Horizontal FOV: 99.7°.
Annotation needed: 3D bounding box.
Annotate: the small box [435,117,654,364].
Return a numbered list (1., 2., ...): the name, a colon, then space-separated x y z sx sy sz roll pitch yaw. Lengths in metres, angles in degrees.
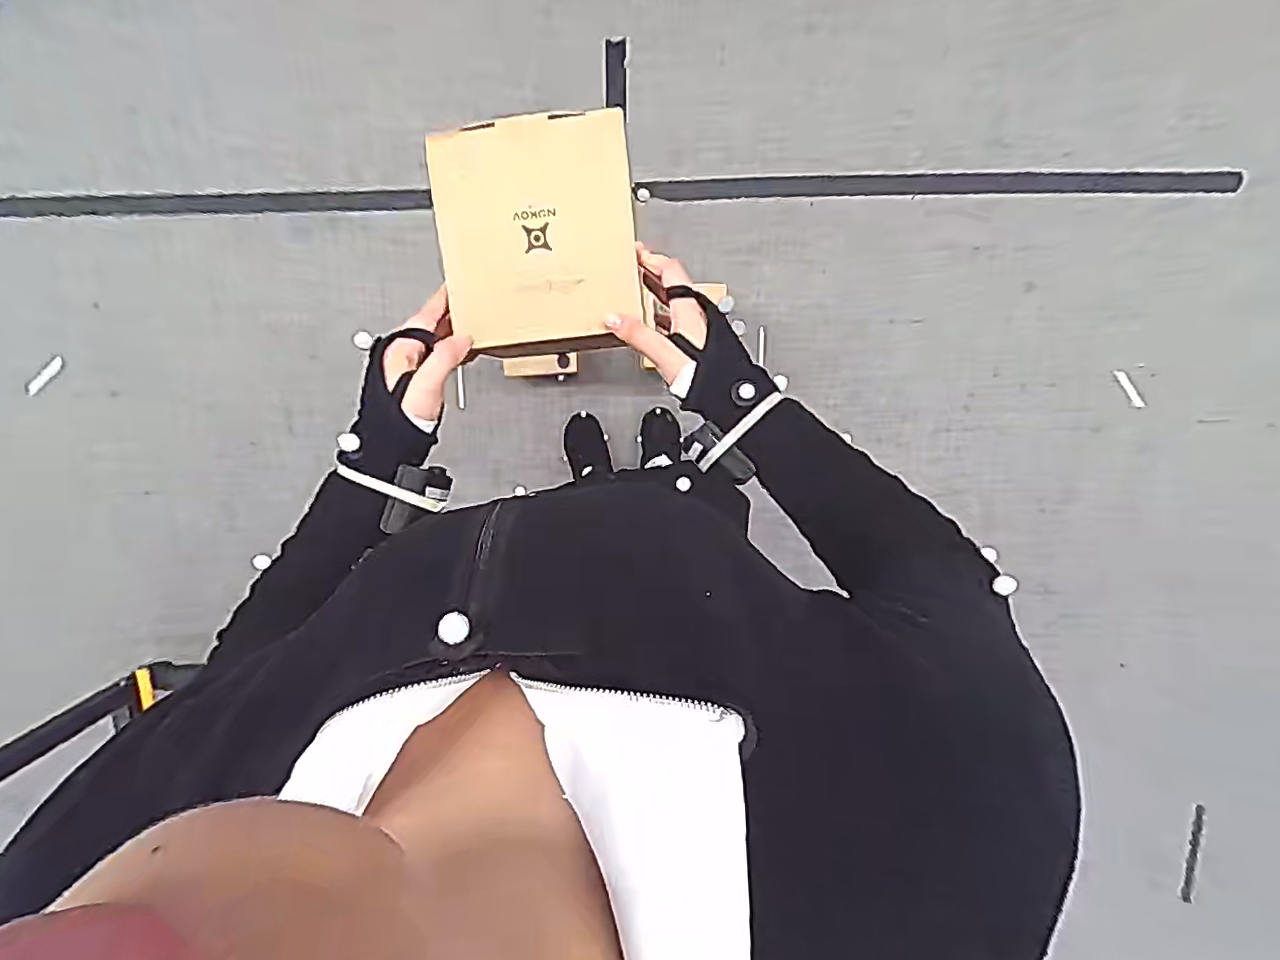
1. small box: -0.076 -0.212 0.529 0.168 0.176 0.179 -5 100 4

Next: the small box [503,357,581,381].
1. small box: -0.240 -0.336 1.344 0.179 0.176 0.168 -4 100 0

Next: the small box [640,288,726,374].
1. small box: 0.088 -0.321 1.188 0.179 0.176 0.168 -1 100 -2
